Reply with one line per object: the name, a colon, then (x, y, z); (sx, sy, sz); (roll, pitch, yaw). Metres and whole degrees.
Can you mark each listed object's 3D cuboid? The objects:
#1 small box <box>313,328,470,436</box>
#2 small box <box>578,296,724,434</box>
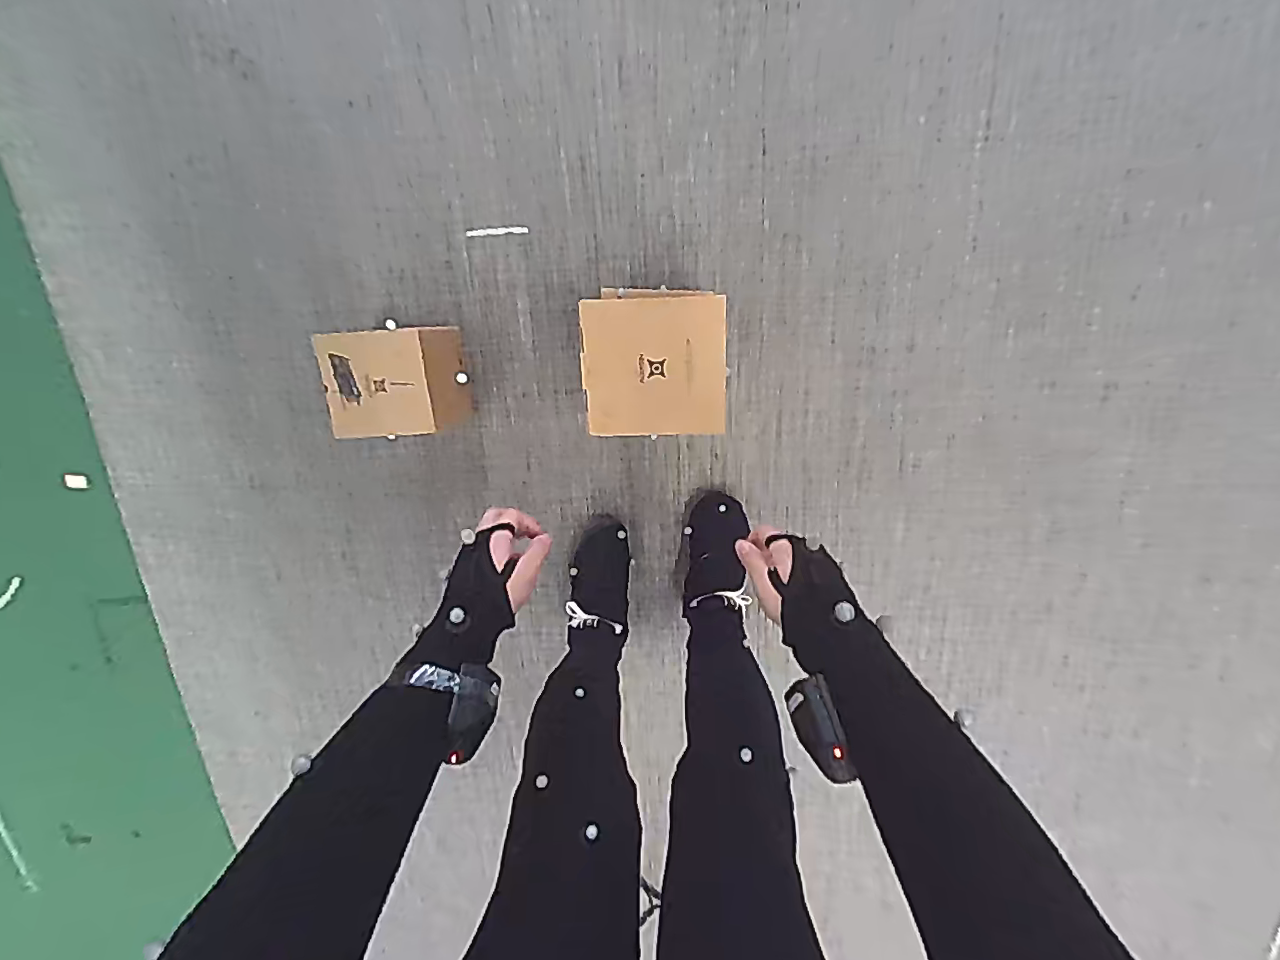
small box: (-0.415, -0.173, 0.932); (0.179, 0.176, 0.168); (-3, 106, 3)
small box: (0.019, -0.159, 0.736); (0.179, 0.176, 0.168); (-1, 107, 3)
